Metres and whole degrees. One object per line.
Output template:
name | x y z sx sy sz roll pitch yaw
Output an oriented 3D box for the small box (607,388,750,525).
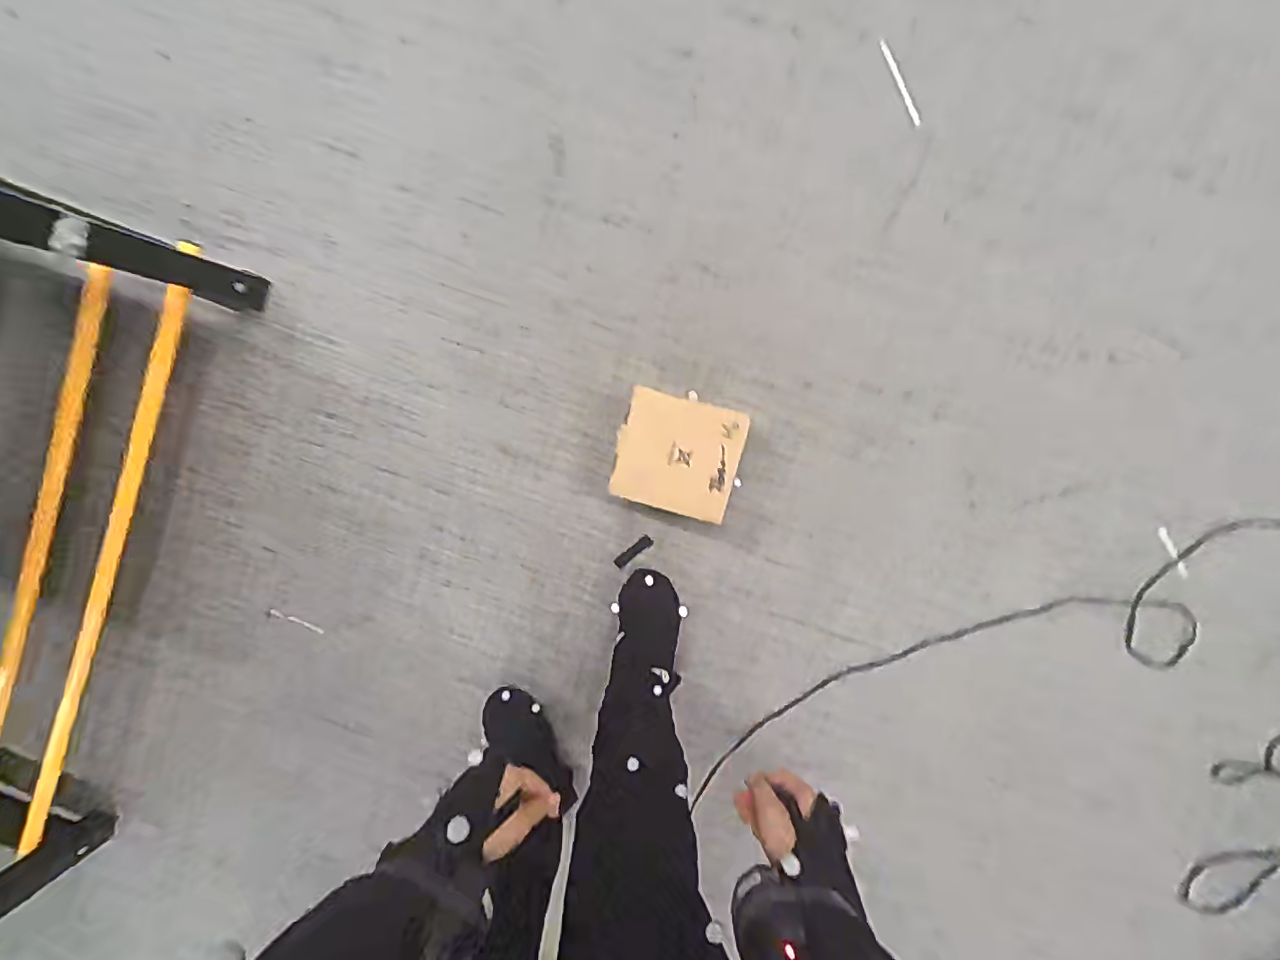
small box | 0.062 -0.039 0.869 0.179 0.176 0.168 16 96 3
